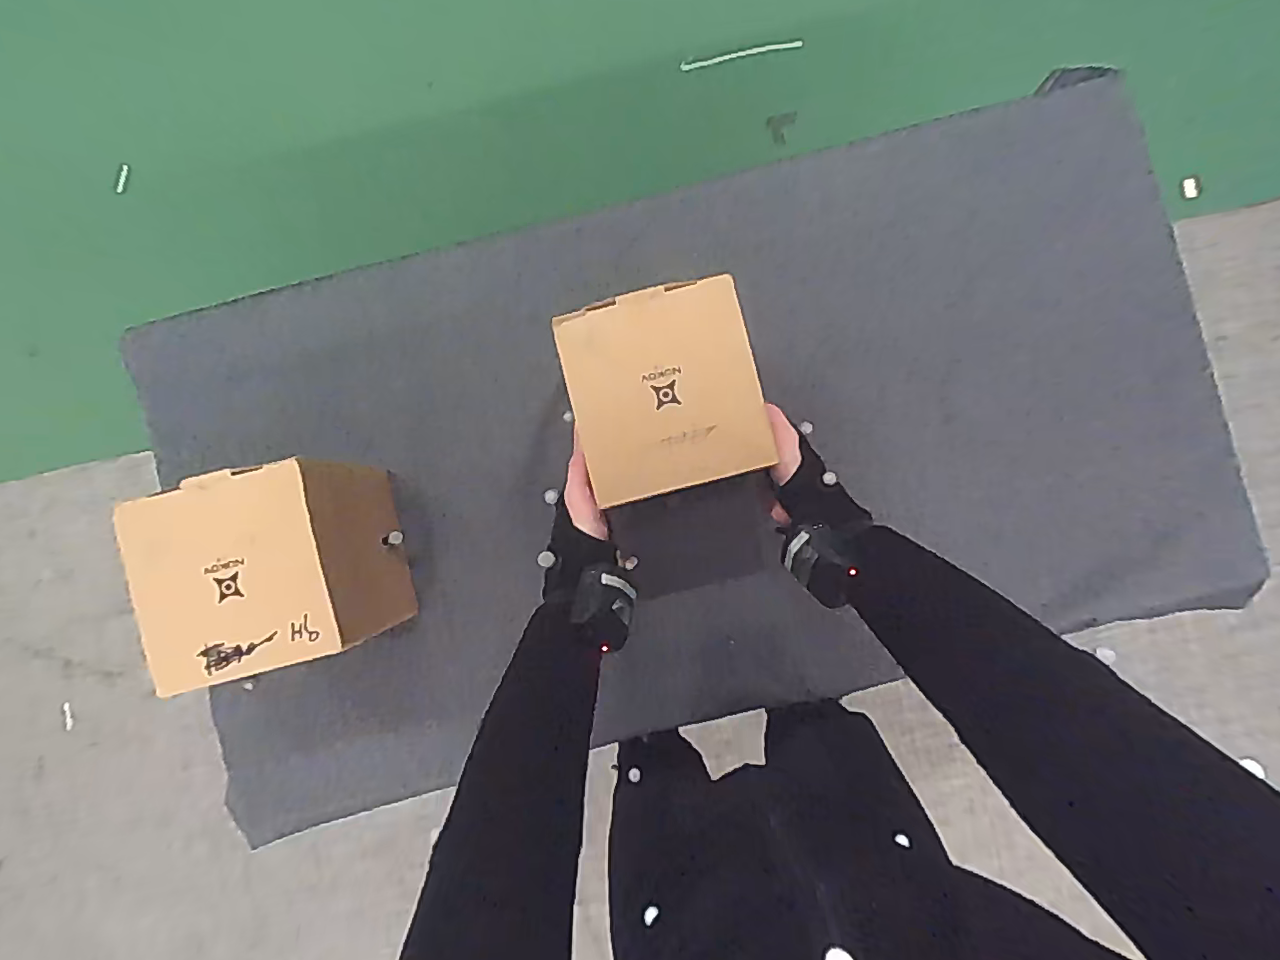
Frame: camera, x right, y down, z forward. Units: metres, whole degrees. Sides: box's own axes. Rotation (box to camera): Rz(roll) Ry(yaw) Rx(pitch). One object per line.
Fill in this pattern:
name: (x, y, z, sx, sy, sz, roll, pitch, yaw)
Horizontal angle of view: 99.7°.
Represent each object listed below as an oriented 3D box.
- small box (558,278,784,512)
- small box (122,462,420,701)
small box: (0.026, -0.072, 0.549, 0.168, 0.176, 0.179, -15, 90, 1)
small box: (-0.348, 0.090, 0.544, 0.168, 0.176, 0.179, -15, 88, 0)
